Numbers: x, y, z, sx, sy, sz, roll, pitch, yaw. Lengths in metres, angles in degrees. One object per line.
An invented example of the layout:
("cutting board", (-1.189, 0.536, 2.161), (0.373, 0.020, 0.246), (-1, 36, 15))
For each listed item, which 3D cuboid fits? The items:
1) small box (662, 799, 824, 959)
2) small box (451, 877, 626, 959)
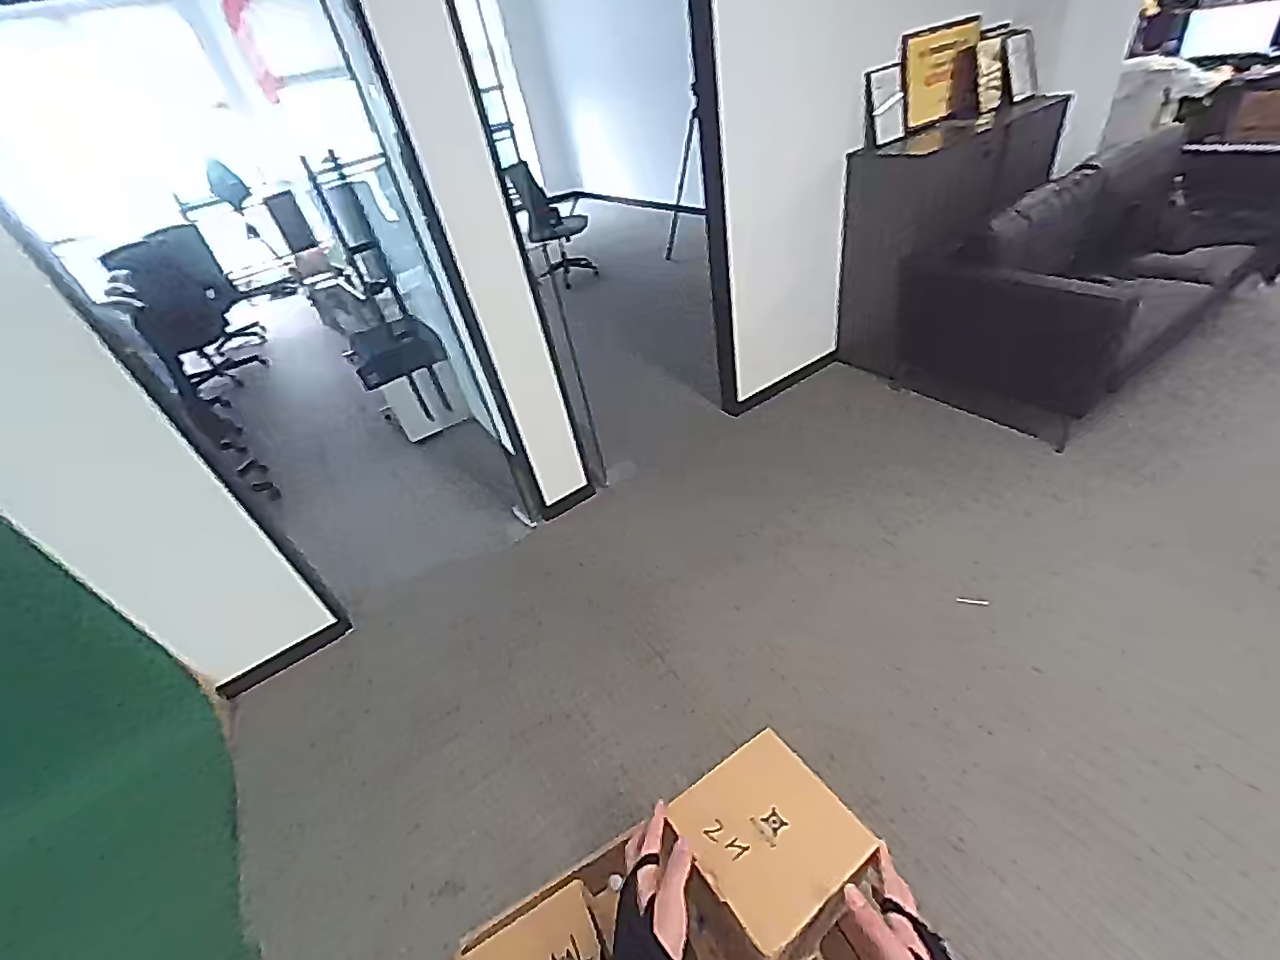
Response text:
("small box", (0.153, 0.631, 0.819), (0.179, 0.176, 0.168), (-23, 40, -11))
("small box", (-0.098, 0.624, 0.638), (0.179, 0.176, 0.168), (-26, 40, -14))
